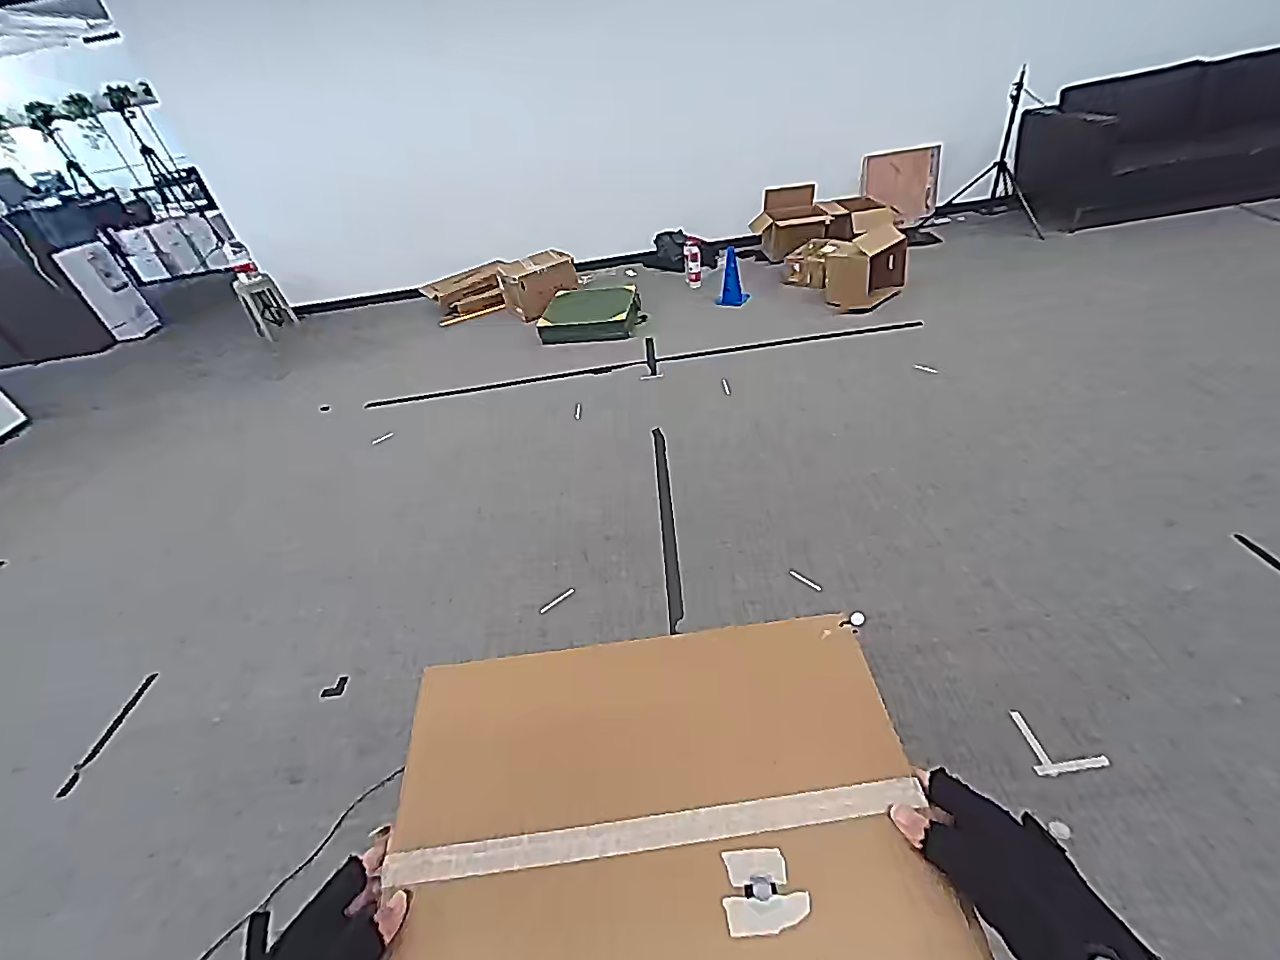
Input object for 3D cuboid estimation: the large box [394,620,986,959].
[{"bbox_3d":[0.027,0.375,0.523,0.408,0.320,0.320,-7,47,-2],"label":"large box"}]
